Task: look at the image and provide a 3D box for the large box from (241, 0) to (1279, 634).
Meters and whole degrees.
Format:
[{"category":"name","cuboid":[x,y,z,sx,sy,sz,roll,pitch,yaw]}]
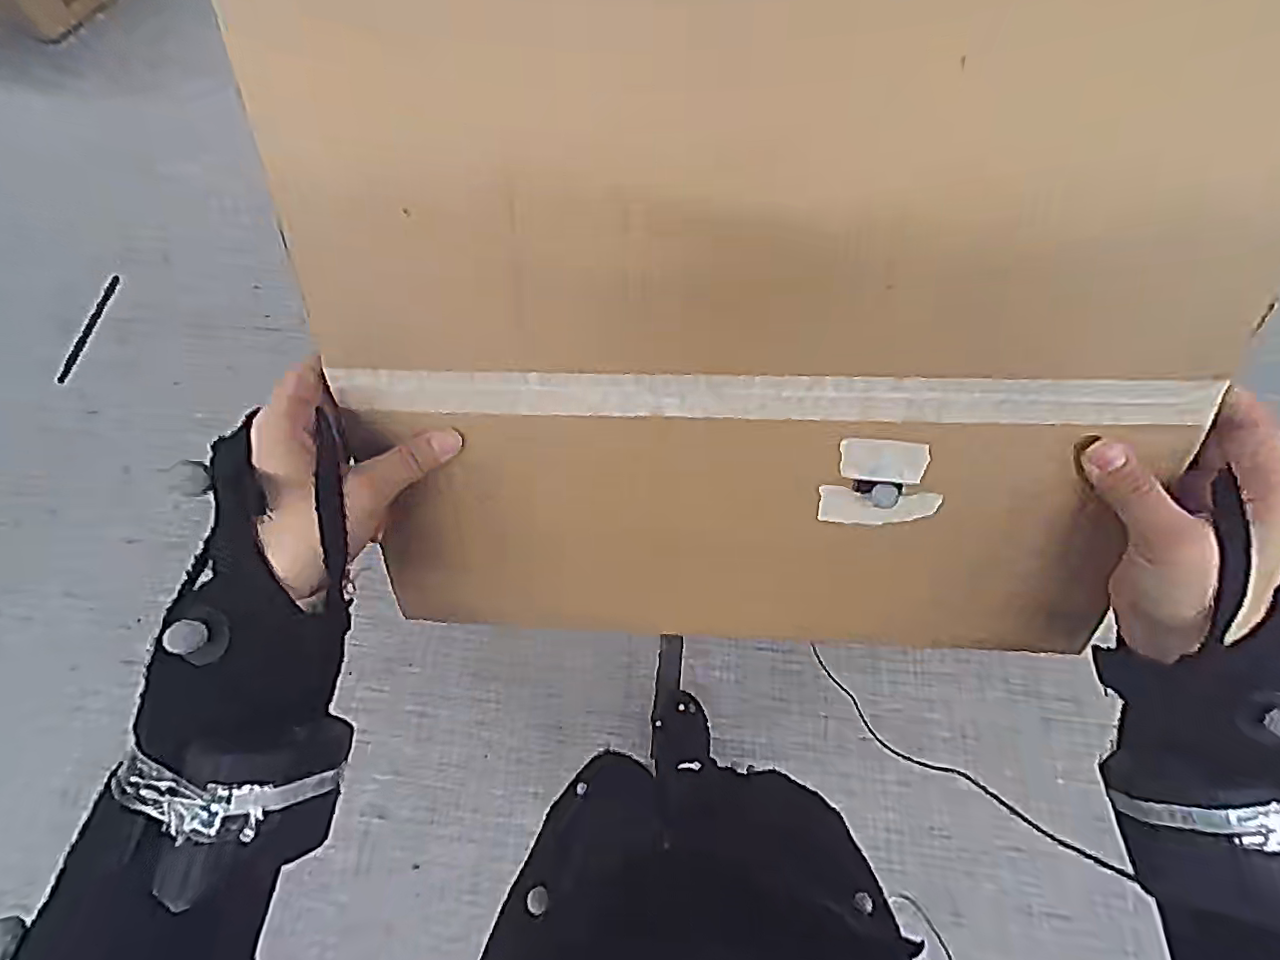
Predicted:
[{"category":"large box","cuboid":[0.056,-0.114,0.392,0.408,0.320,0.320,1,31,3]}]
